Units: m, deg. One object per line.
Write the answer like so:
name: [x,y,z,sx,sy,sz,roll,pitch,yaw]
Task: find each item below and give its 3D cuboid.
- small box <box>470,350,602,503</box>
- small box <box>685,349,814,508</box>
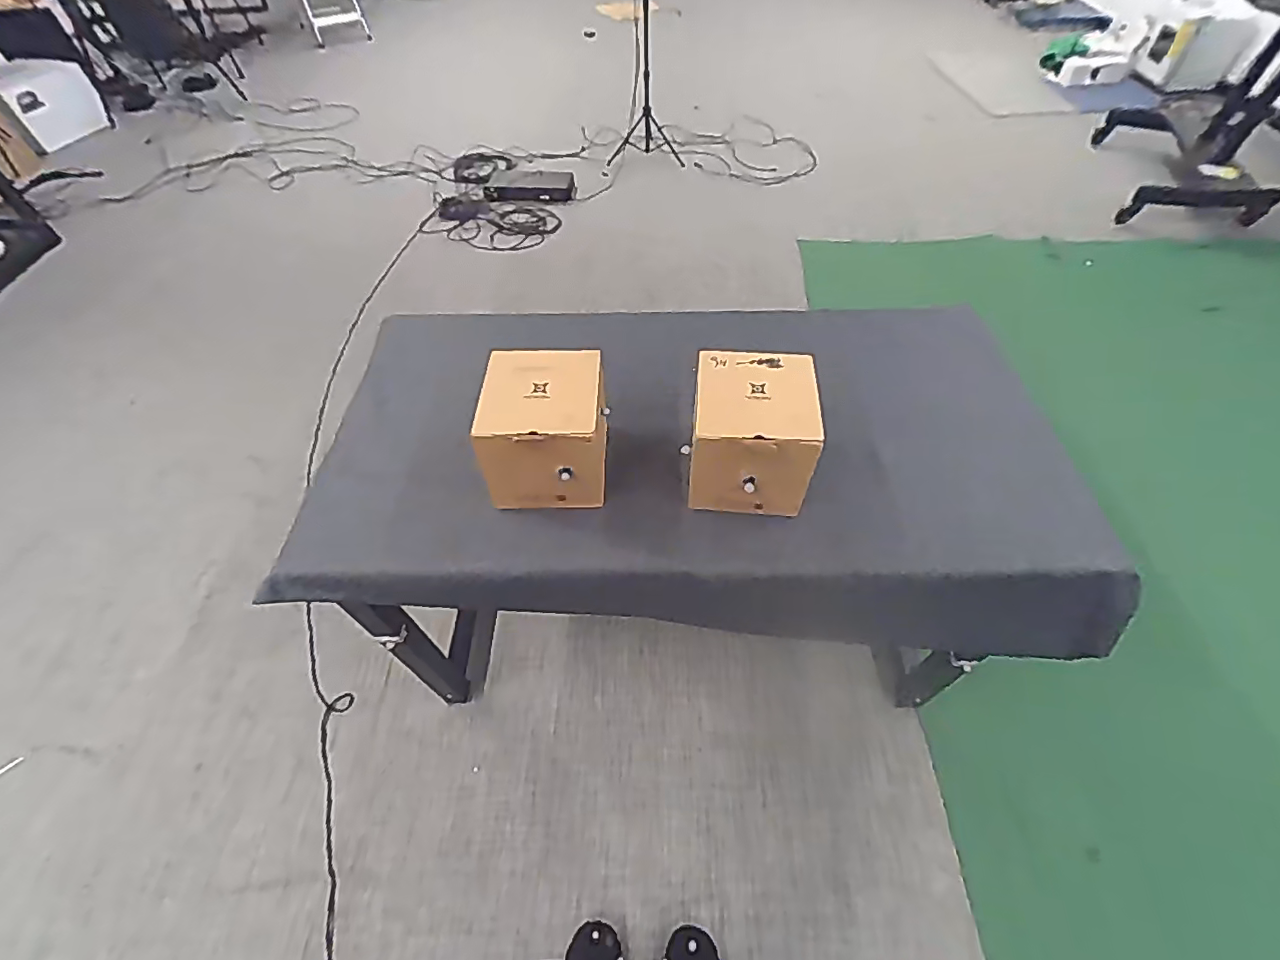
small box: [-0.145,-0.077,0.829,0.168,0.176,0.179,-1,51,-1]
small box: [0.156,-0.073,0.814,0.168,0.176,0.179,4,54,5]
